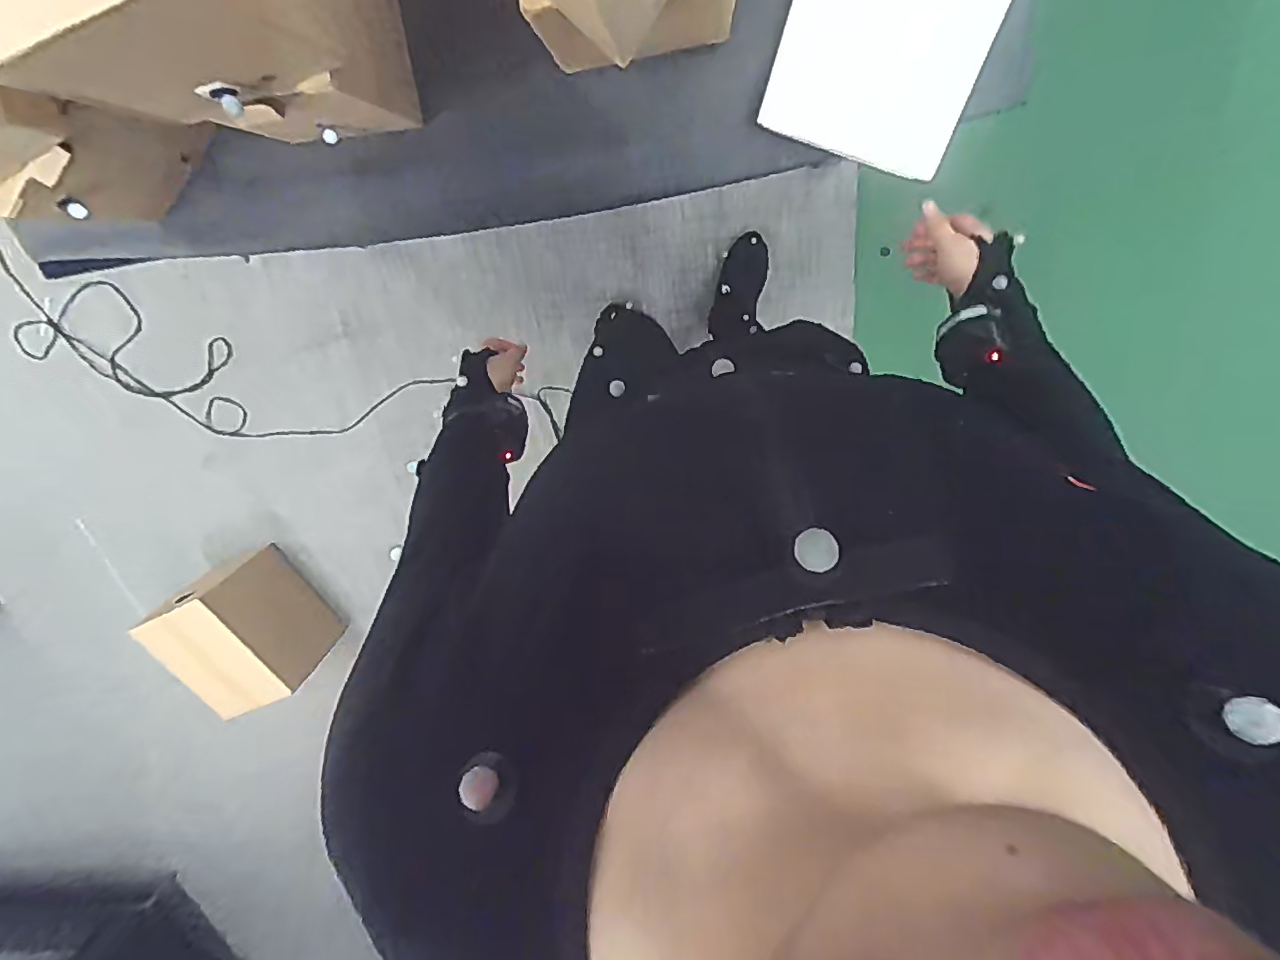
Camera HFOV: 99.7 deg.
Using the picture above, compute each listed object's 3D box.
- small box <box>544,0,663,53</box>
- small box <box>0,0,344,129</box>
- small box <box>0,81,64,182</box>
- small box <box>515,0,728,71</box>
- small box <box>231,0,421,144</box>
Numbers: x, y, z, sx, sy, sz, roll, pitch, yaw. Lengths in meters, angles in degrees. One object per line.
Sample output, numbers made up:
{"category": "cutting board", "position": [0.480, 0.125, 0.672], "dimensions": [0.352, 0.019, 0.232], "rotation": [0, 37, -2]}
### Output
{"category": "small box", "position": [-0.043, -0.405, 0.318], "dimensions": [0.179, 0.176, 0.168], "rotation": [37, 113, -10]}
{"category": "small box", "position": [-0.351, -0.374, 0.366], "dimensions": [0.168, 0.176, 0.179], "rotation": [-12, 112, 12]}
{"category": "small box", "position": [-0.632, -0.326, 0.417], "dimensions": [0.179, 0.176, 0.168], "rotation": [-18, 111, 15]}
{"category": "small box", "position": [-0.015, -0.482, 0.461], "dimensions": [0.179, 0.176, 0.168], "rotation": [-5, 113, 10]}
{"category": "small box", "position": [-0.338, -0.441, 0.514], "dimensions": [0.168, 0.176, 0.179], "rotation": [-2, 114, 8]}
